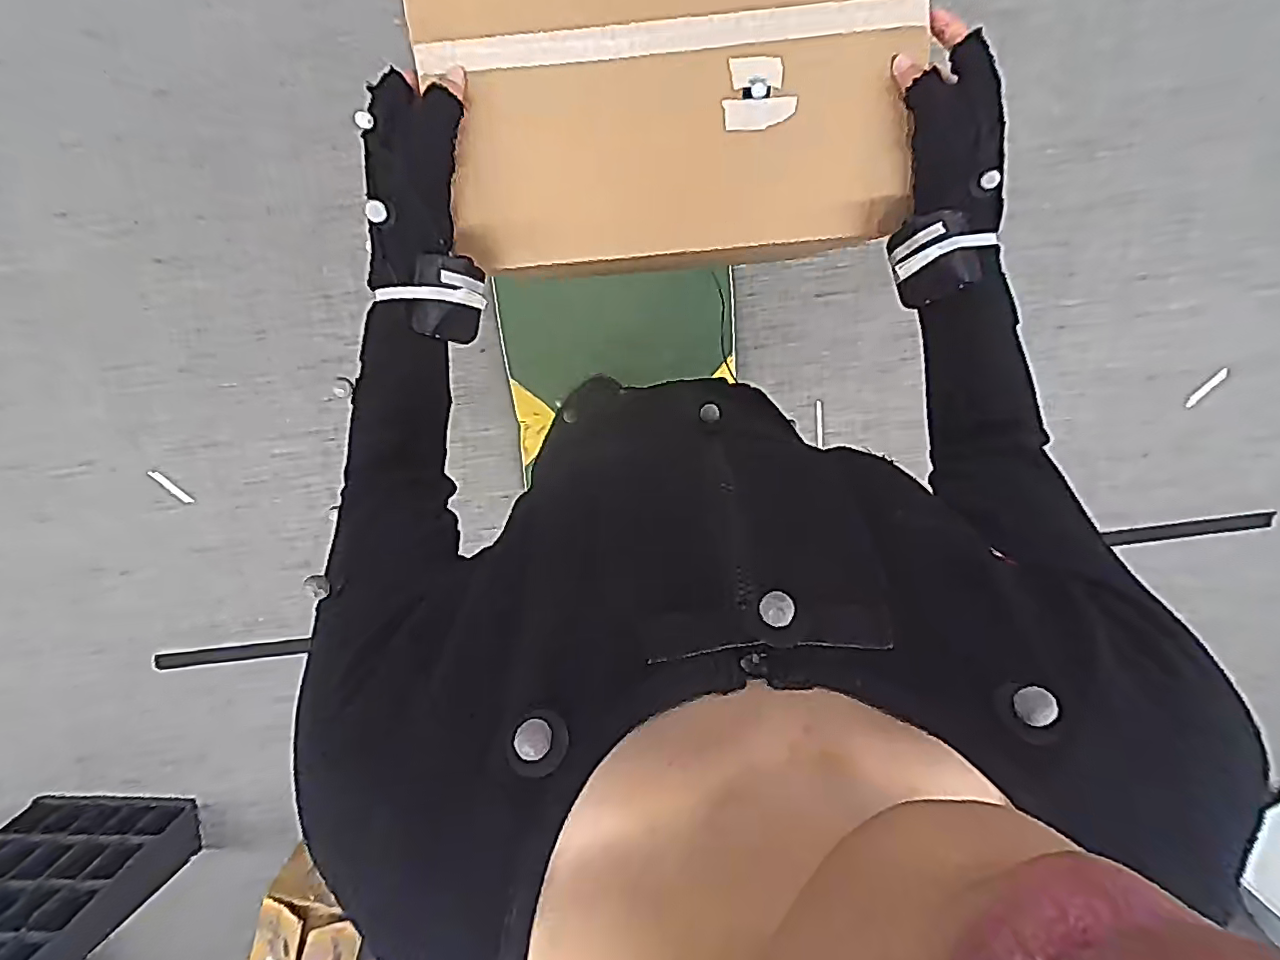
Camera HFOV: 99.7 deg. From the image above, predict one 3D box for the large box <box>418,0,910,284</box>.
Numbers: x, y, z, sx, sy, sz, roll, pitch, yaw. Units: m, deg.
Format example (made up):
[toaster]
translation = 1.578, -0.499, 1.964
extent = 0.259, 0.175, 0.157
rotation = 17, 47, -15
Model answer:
[large box]
translation = 0.018, -0.403, 0.585
extent = 0.408, 0.320, 0.320
rotation = -6, 108, 0
